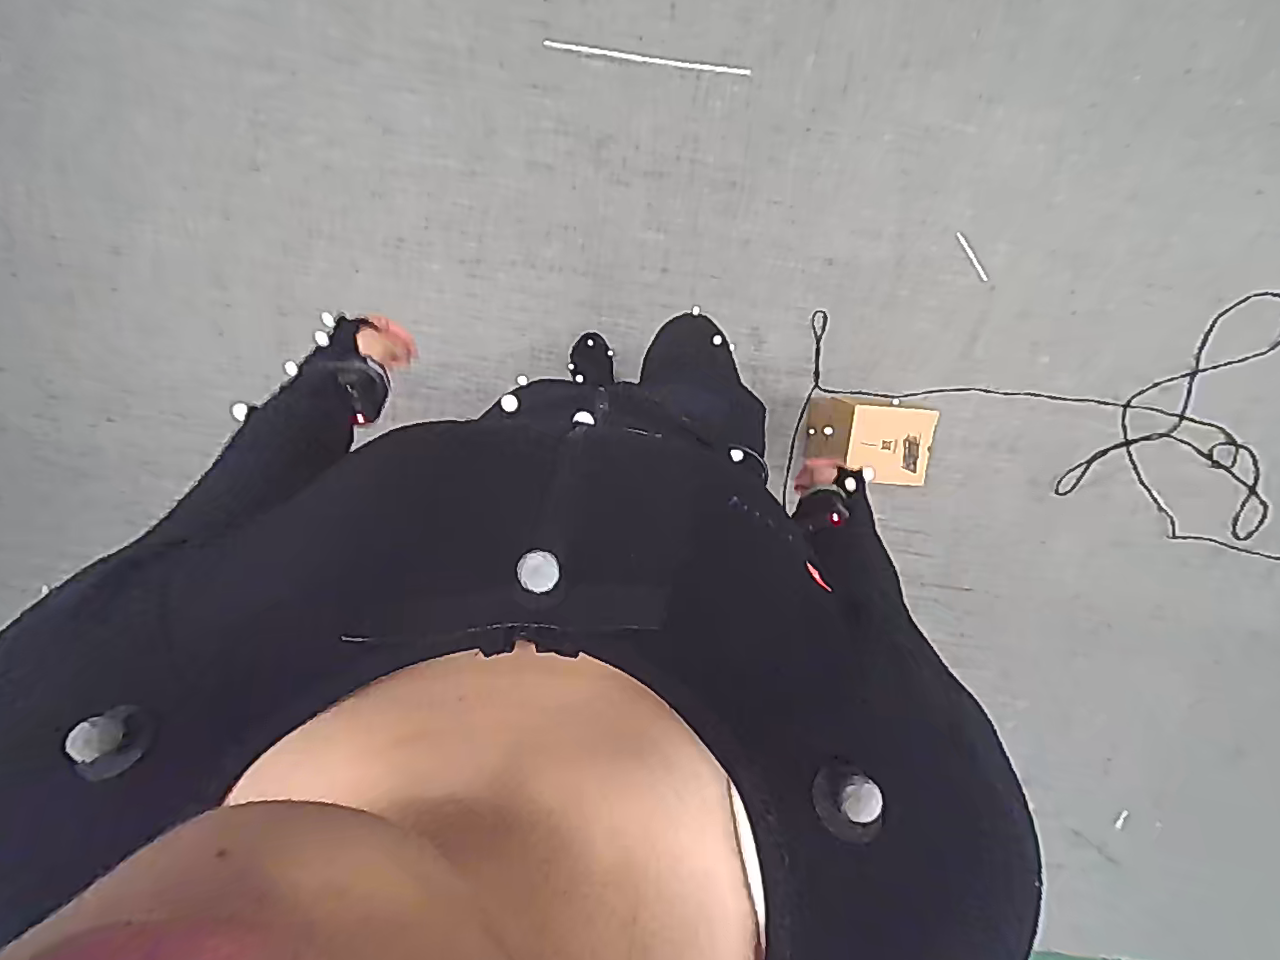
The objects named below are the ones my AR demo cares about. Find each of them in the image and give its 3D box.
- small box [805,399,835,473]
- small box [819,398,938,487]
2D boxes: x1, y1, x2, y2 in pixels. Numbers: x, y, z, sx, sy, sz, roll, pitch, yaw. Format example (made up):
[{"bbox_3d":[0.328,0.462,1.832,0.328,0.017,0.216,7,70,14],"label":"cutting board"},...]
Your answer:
[{"bbox_3d":[0.526,-0.113,1.365,0.179,0.176,0.168,1,105,1],"label":"small box"},{"bbox_3d":[0.520,-0.090,1.202,0.179,0.176,0.168,5,104,1],"label":"small box"}]
